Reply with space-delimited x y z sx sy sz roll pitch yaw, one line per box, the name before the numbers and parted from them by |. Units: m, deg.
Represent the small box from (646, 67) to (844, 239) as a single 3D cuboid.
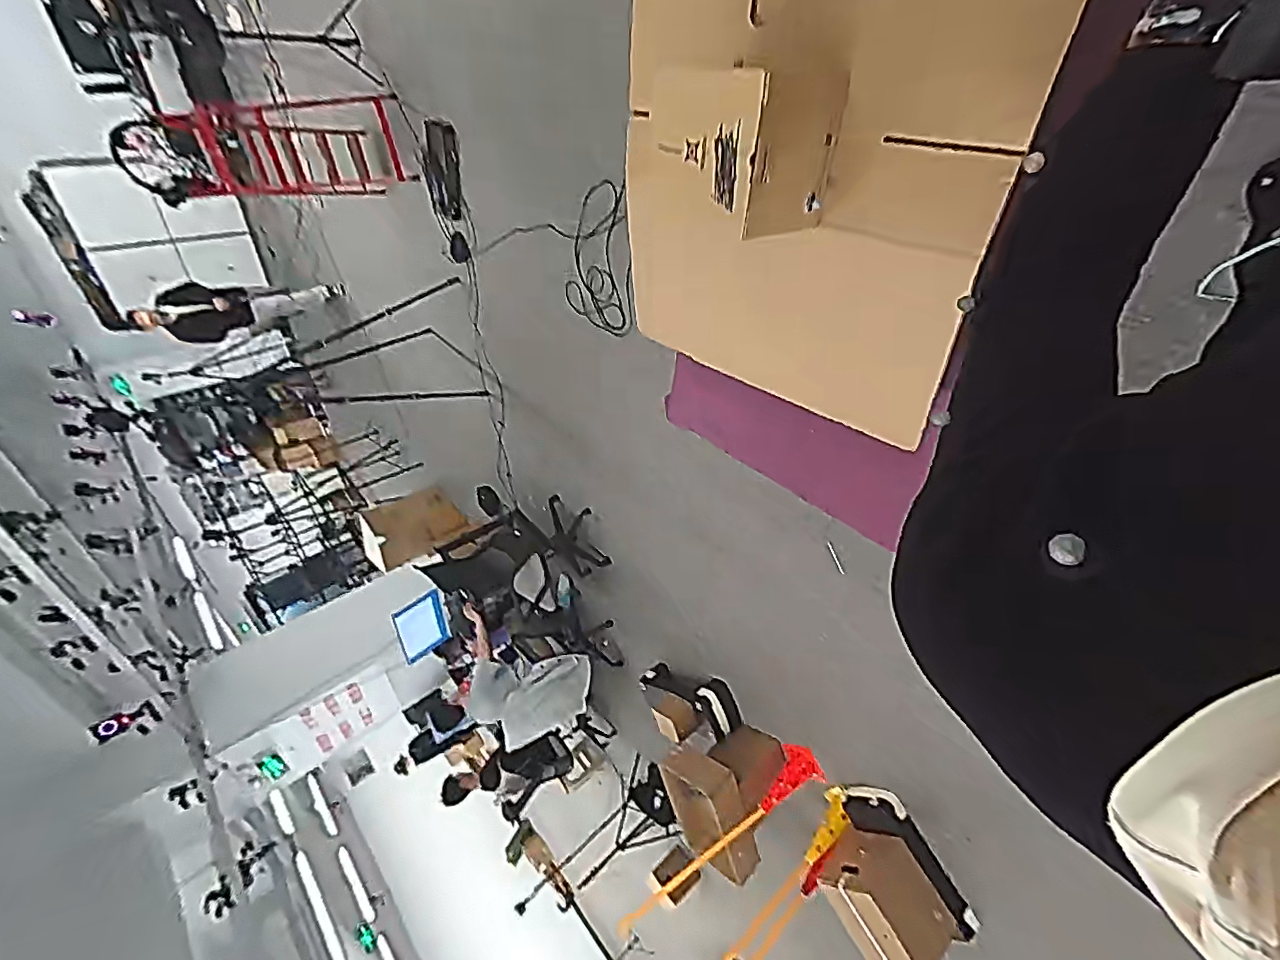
small box | 0.130 -0.422 0.693 0.179 0.176 0.168 34 135 36
